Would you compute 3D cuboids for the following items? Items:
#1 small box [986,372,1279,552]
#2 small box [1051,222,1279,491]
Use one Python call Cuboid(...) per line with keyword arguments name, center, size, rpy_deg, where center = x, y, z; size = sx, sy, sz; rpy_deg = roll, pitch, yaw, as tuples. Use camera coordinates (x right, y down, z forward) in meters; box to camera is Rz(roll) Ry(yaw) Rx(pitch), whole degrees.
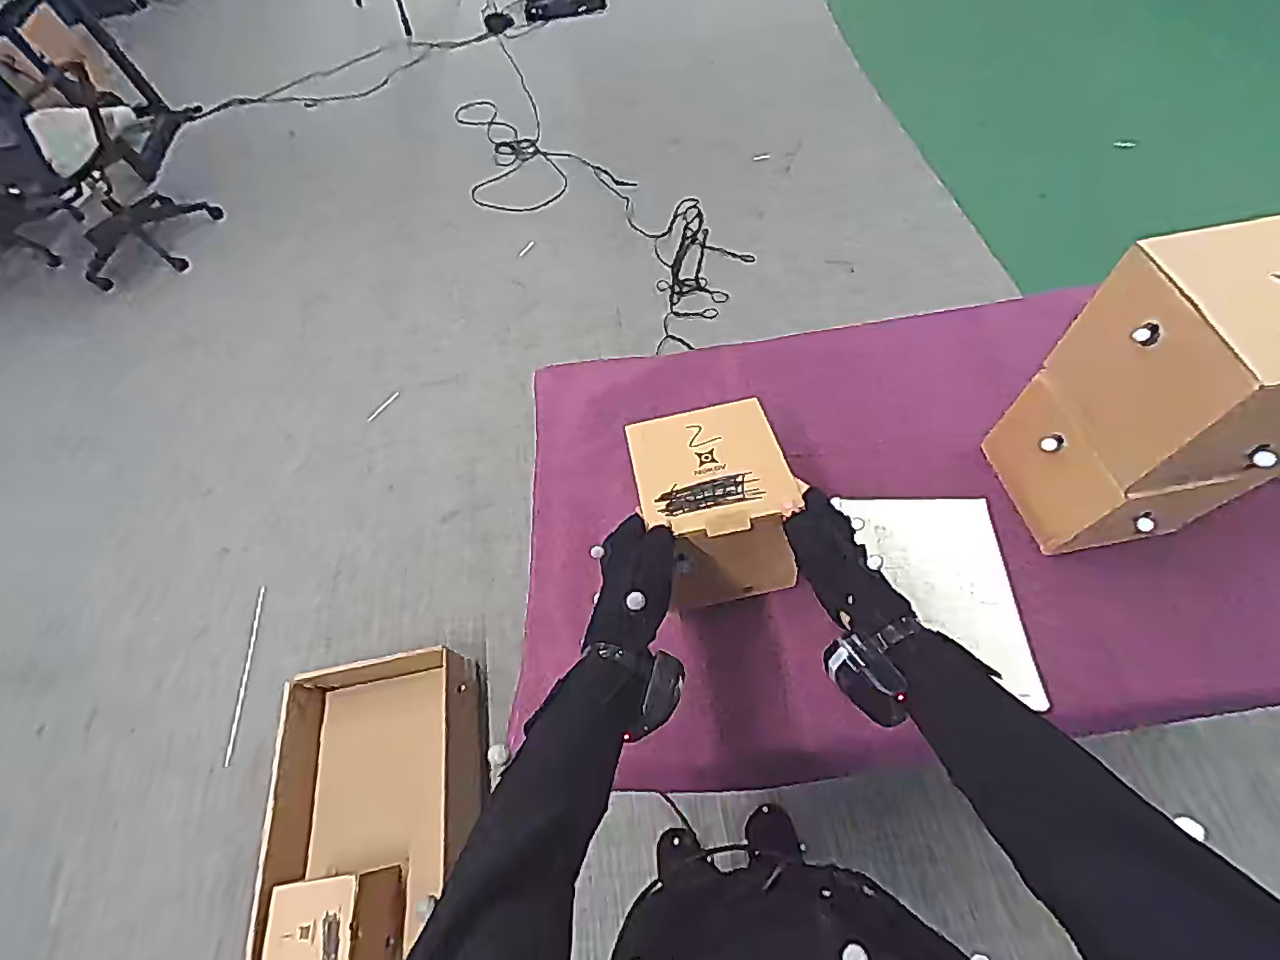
Cuboid(name="small box", center=(0.564, -0.025, 0.651), size=(0.168, 0.176, 0.179), rpy_deg=(-11, 59, 2))
Cuboid(name="small box", center=(0.545, -0.111, 0.512), size=(0.168, 0.176, 0.179), rpy_deg=(-9, 60, 4))
